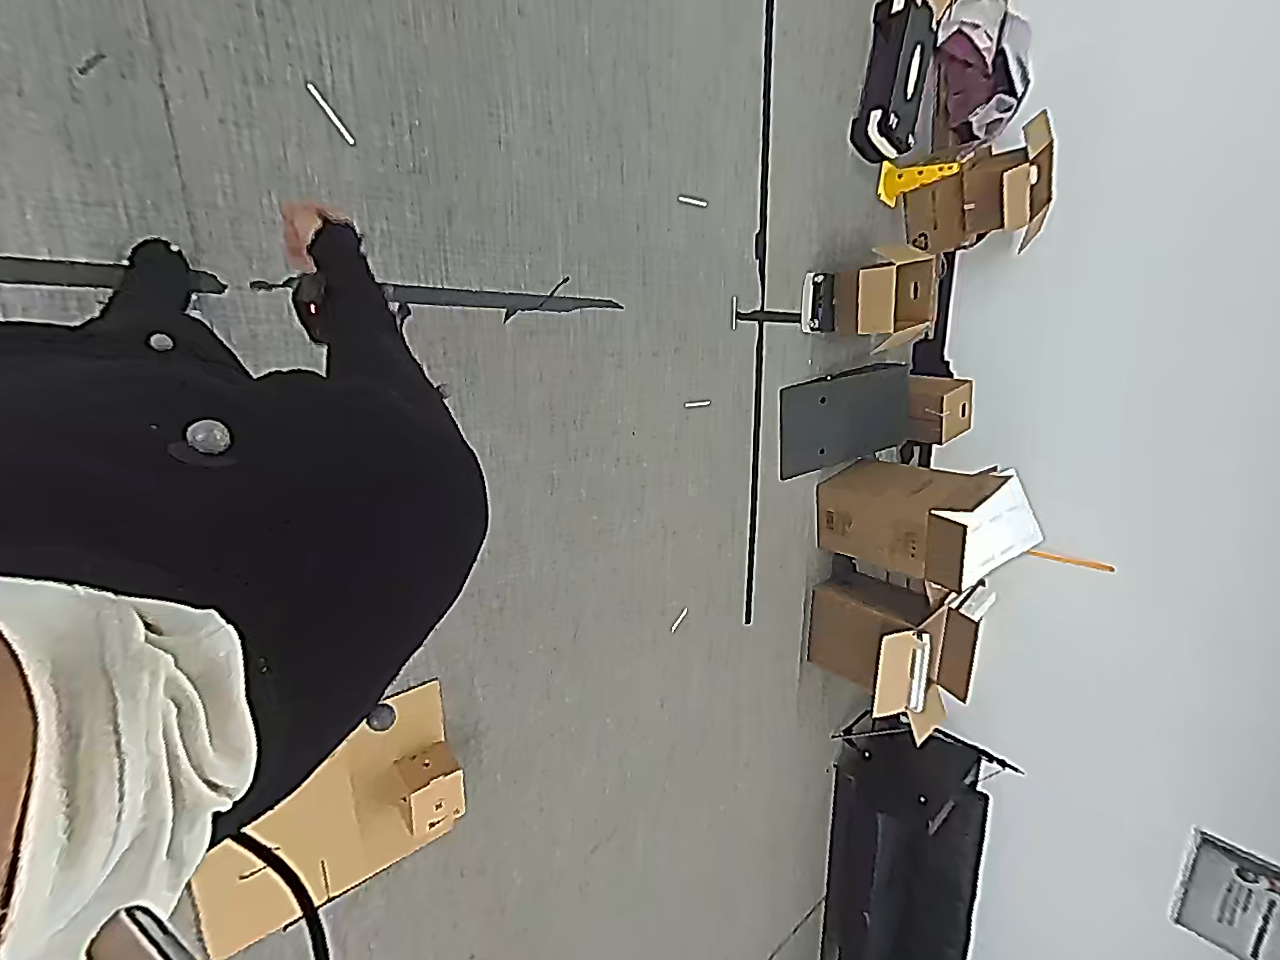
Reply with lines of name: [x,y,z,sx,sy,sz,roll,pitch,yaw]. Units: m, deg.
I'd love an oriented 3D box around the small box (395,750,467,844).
small box: [-0.675,1.004,1.740,0.168,0.176,0.179,-10,106,-40]
